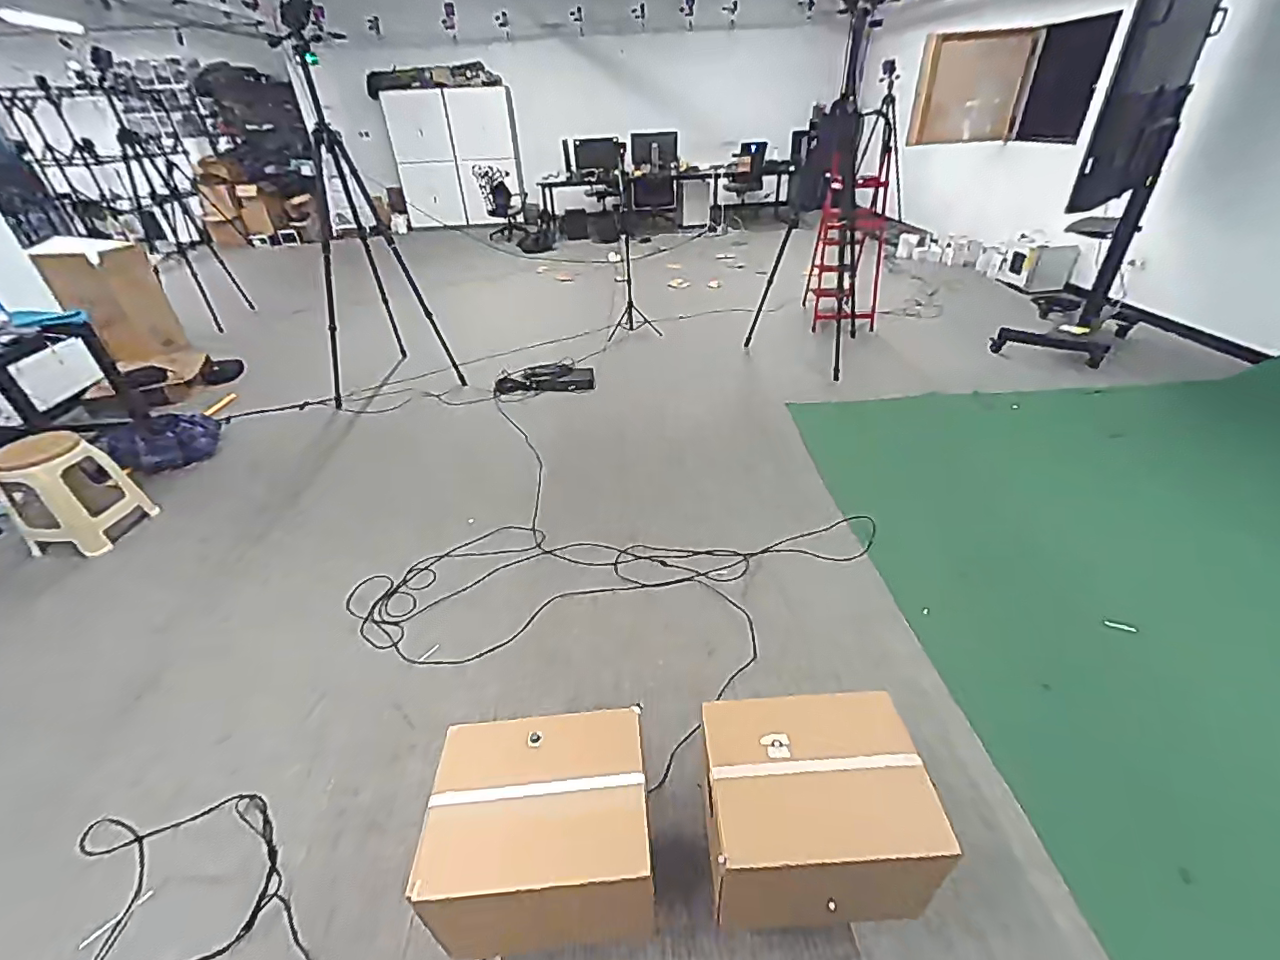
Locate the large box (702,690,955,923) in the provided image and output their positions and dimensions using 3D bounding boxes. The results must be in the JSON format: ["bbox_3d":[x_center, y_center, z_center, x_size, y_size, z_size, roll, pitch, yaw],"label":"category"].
[{"bbox_3d":[0.350,0.678,1.131,0.408,0.320,0.320,-4,35,0],"label":"large box"}]
